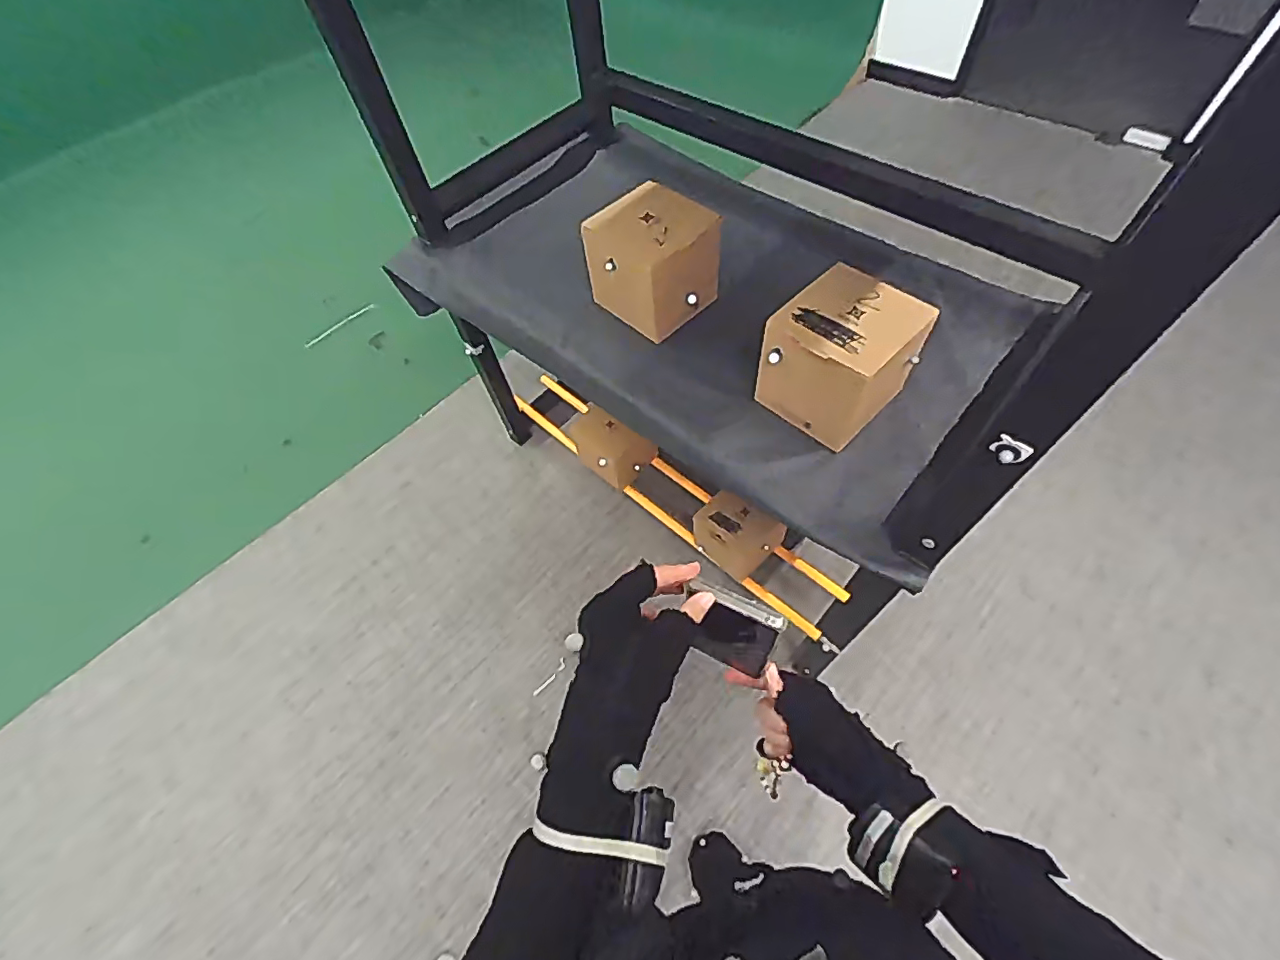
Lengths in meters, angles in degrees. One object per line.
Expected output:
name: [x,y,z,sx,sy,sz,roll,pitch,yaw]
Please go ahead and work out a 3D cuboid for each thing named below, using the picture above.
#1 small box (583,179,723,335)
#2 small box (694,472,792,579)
small box: [0.025,-0.391,0.961,0.168,0.176,0.179,-41,64,-18]
small box: [0.256,0.119,1.359,0.179,0.176,0.168,-41,64,-17]
